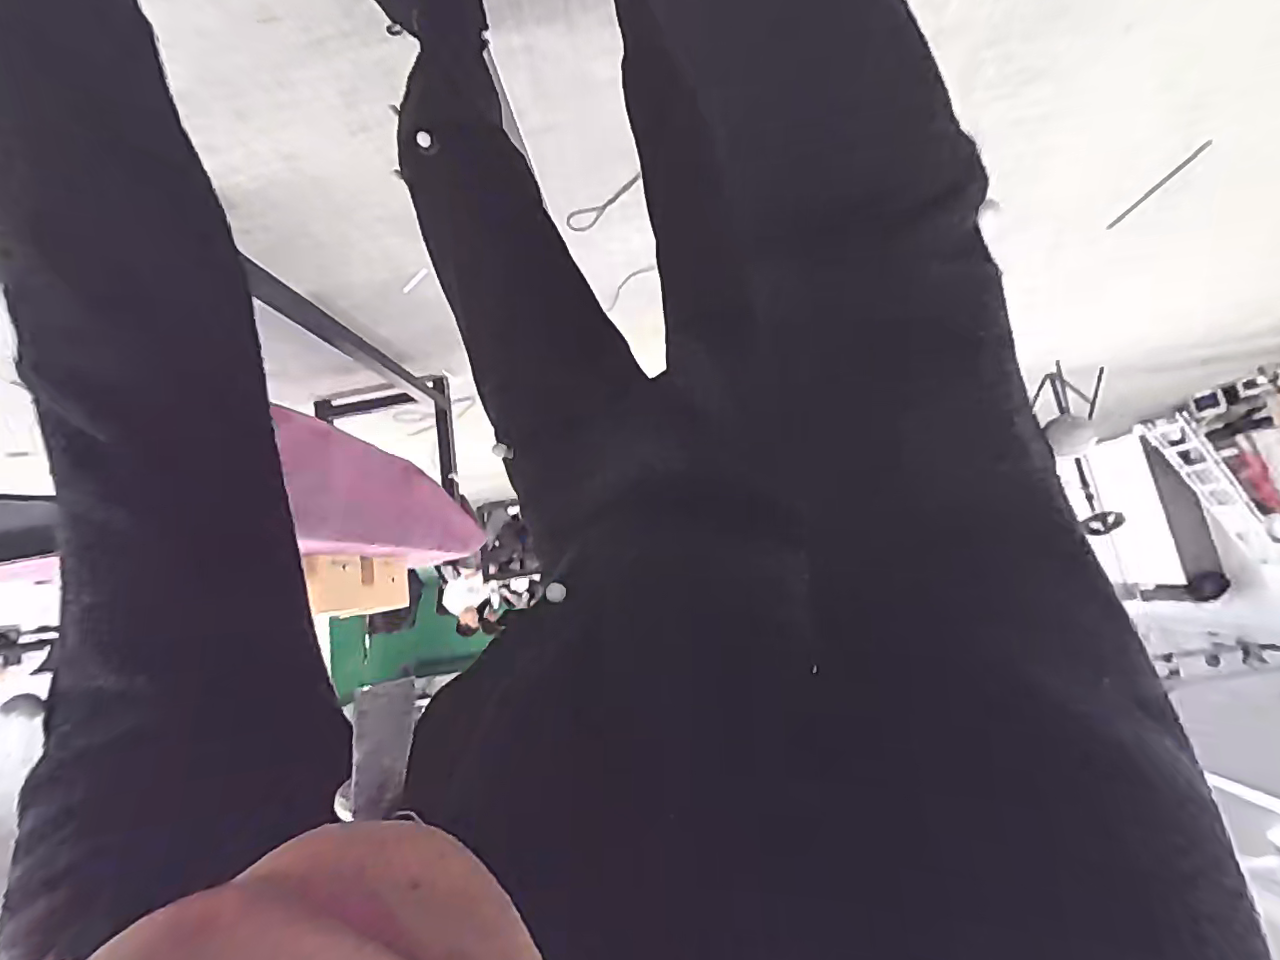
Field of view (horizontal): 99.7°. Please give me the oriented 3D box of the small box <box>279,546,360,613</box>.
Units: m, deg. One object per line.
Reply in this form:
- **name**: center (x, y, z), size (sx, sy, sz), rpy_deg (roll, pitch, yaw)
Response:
- **small box**: center (-0.948, 0.289, 1.577), size (0.179, 0.176, 0.168), rpy_deg (-11, 171, 13)

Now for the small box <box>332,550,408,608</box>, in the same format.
- **small box**: center (-0.915, 0.329, 1.825), size (0.179, 0.176, 0.168), rpy_deg (-11, 169, 12)
